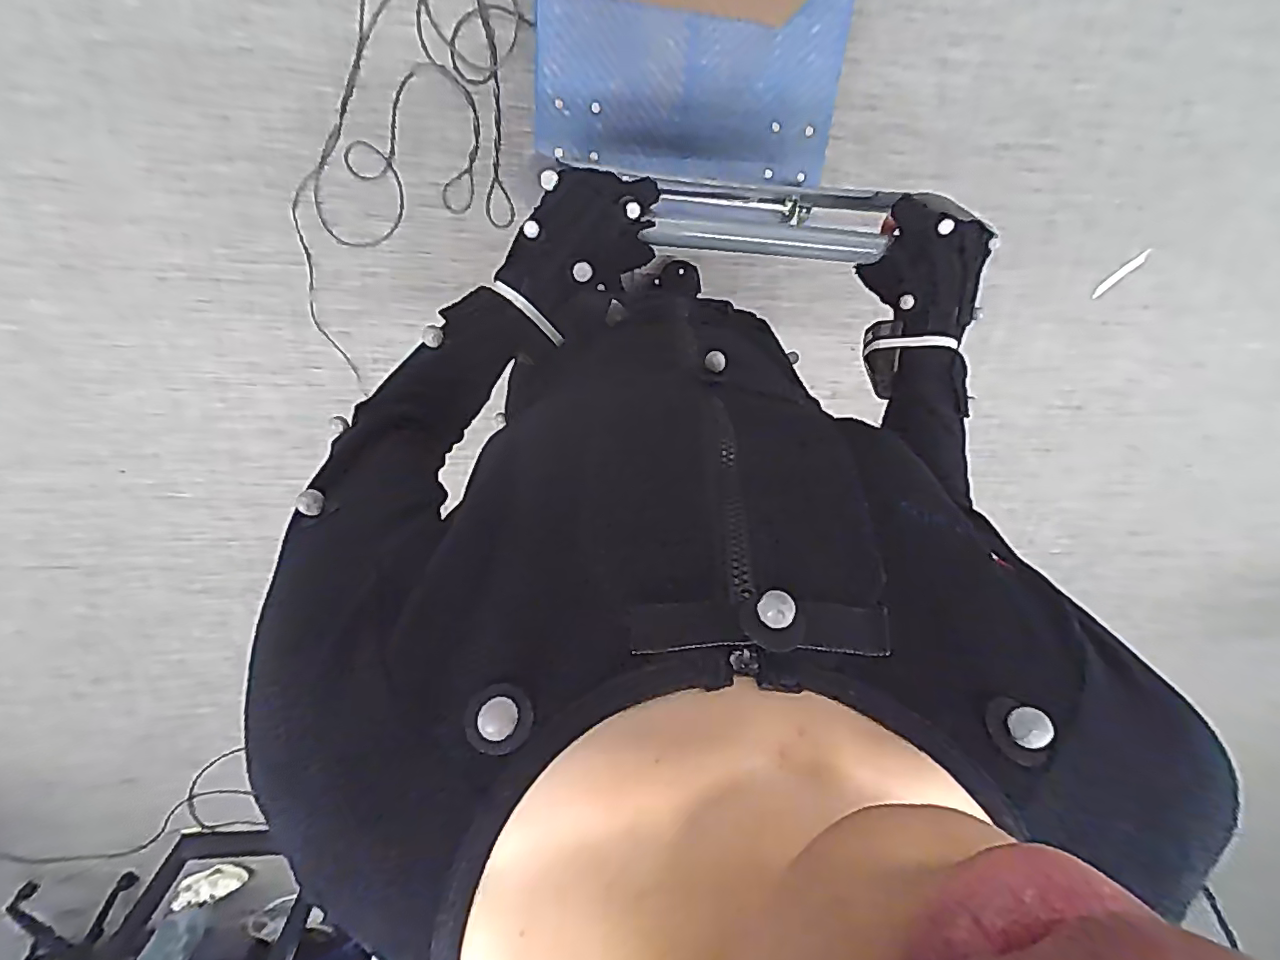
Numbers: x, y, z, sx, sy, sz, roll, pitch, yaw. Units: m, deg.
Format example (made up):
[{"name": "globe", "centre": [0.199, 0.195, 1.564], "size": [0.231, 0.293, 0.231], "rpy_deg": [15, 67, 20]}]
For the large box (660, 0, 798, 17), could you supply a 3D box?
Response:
[{"name": "large box", "centre": [0.091, -0.926, 0.775], "size": [0.408, 0.320, 0.320], "rpy_deg": [4, 115, -6]}]
